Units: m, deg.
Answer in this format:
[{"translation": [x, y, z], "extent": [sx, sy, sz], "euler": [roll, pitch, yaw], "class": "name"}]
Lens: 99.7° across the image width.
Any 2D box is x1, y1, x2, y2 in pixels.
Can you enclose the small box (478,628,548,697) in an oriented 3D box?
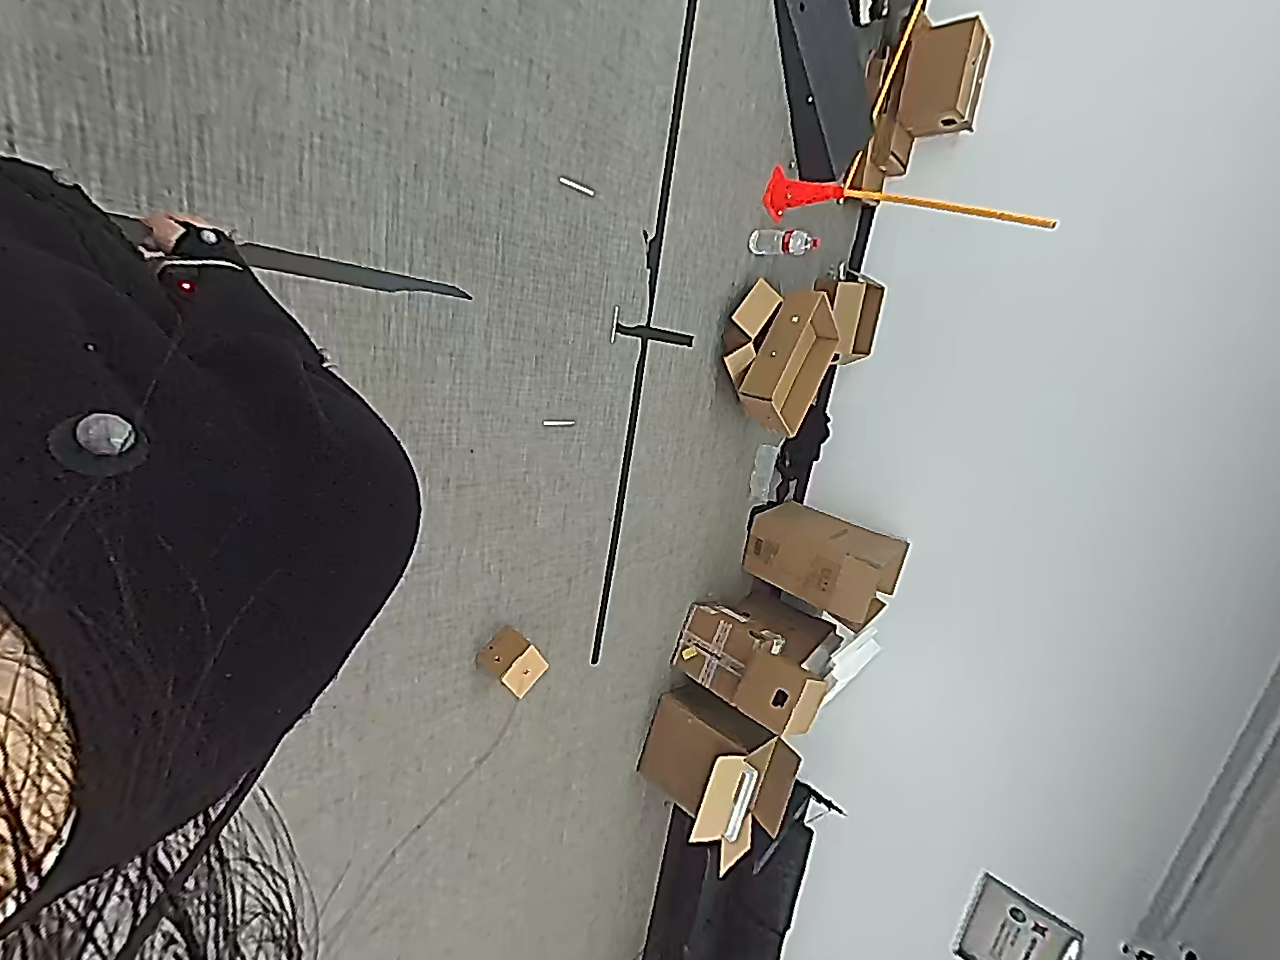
[{"translation": [-0.497, 0.700, 2.100], "extent": [0.168, 0.176, 0.179], "euler": [-46, 139, -25], "class": "small box"}]
